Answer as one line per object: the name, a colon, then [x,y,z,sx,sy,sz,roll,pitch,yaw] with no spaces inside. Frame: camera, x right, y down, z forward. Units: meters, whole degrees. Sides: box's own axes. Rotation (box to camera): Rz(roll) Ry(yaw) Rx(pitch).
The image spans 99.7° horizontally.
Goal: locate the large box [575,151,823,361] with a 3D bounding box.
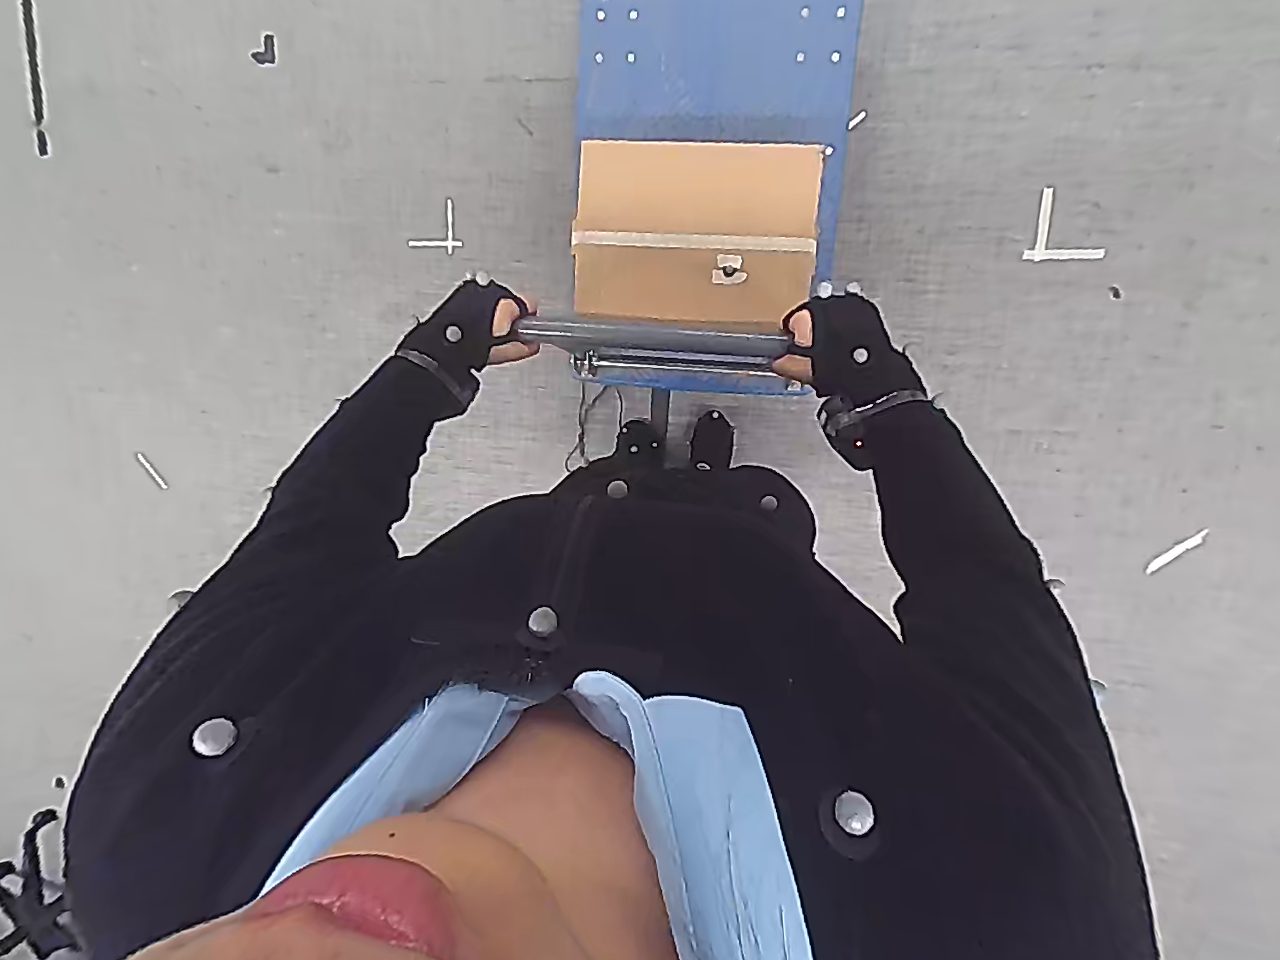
large box: [0.104,-0.407,1.055,0.408,0.320,0.320,5,100,6]
